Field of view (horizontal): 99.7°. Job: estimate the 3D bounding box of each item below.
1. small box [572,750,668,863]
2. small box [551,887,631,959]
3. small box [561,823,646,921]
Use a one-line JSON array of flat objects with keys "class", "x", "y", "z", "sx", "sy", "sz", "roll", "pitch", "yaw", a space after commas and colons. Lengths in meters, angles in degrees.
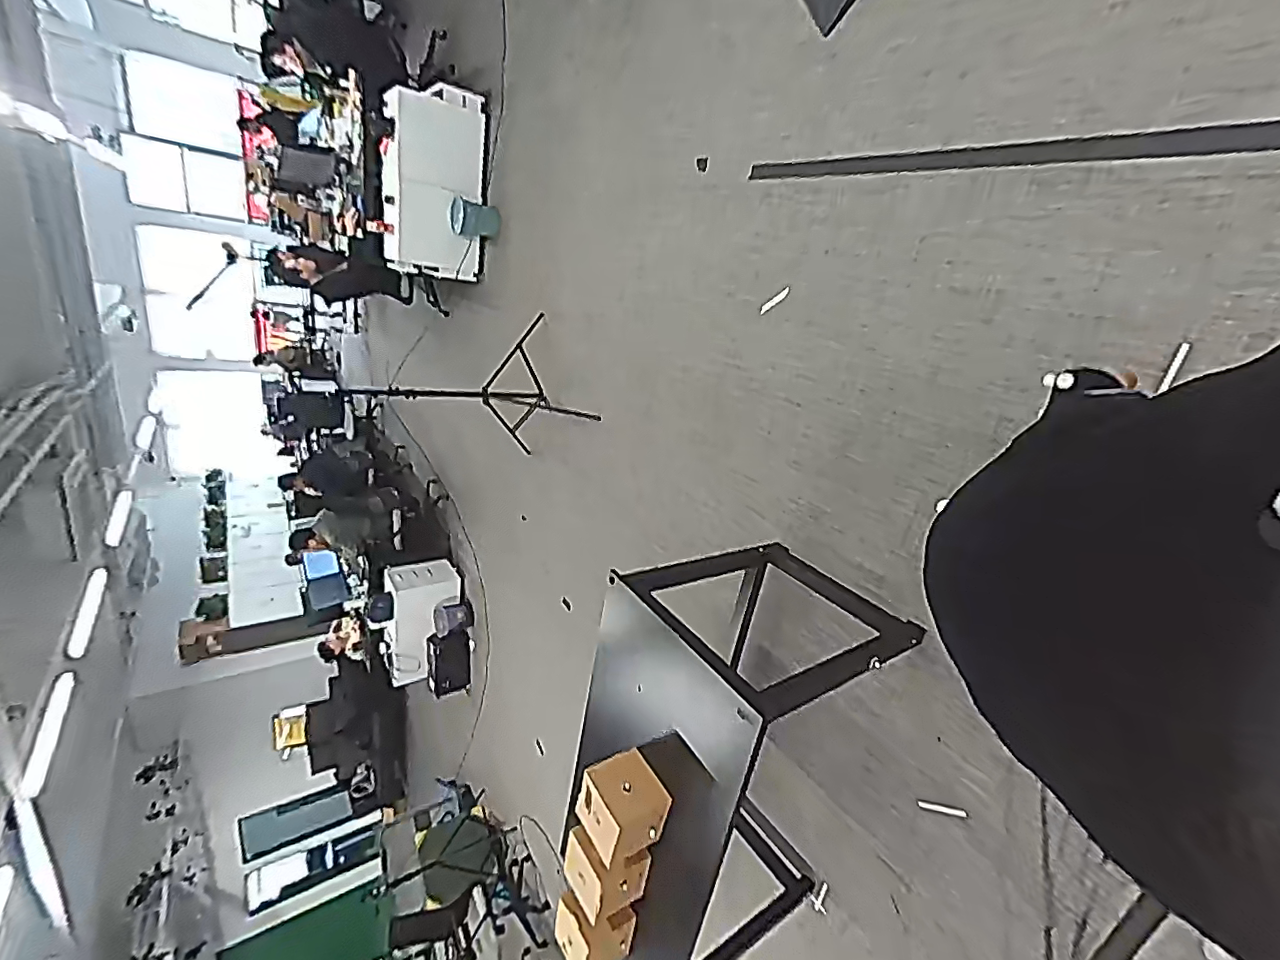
[{"class": "small box", "x": -0.055, "y": 0.849, "z": 1.433, "sx": 0.179, "sy": 0.176, "sz": 0.168, "roll": 38, "pitch": 124, "yaw": 44}, {"class": "small box", "x": -0.145, "y": 1.318, "z": 1.616, "sx": 0.168, "sy": 0.176, "sz": 0.179, "roll": 31, "pitch": 118, "yaw": 48}, {"class": "small box", "x": -0.104, "y": 1.073, "z": 1.531, "sx": 0.179, "sy": 0.176, "sz": 0.168, "roll": 34, "pitch": 120, "yaw": 48}]
